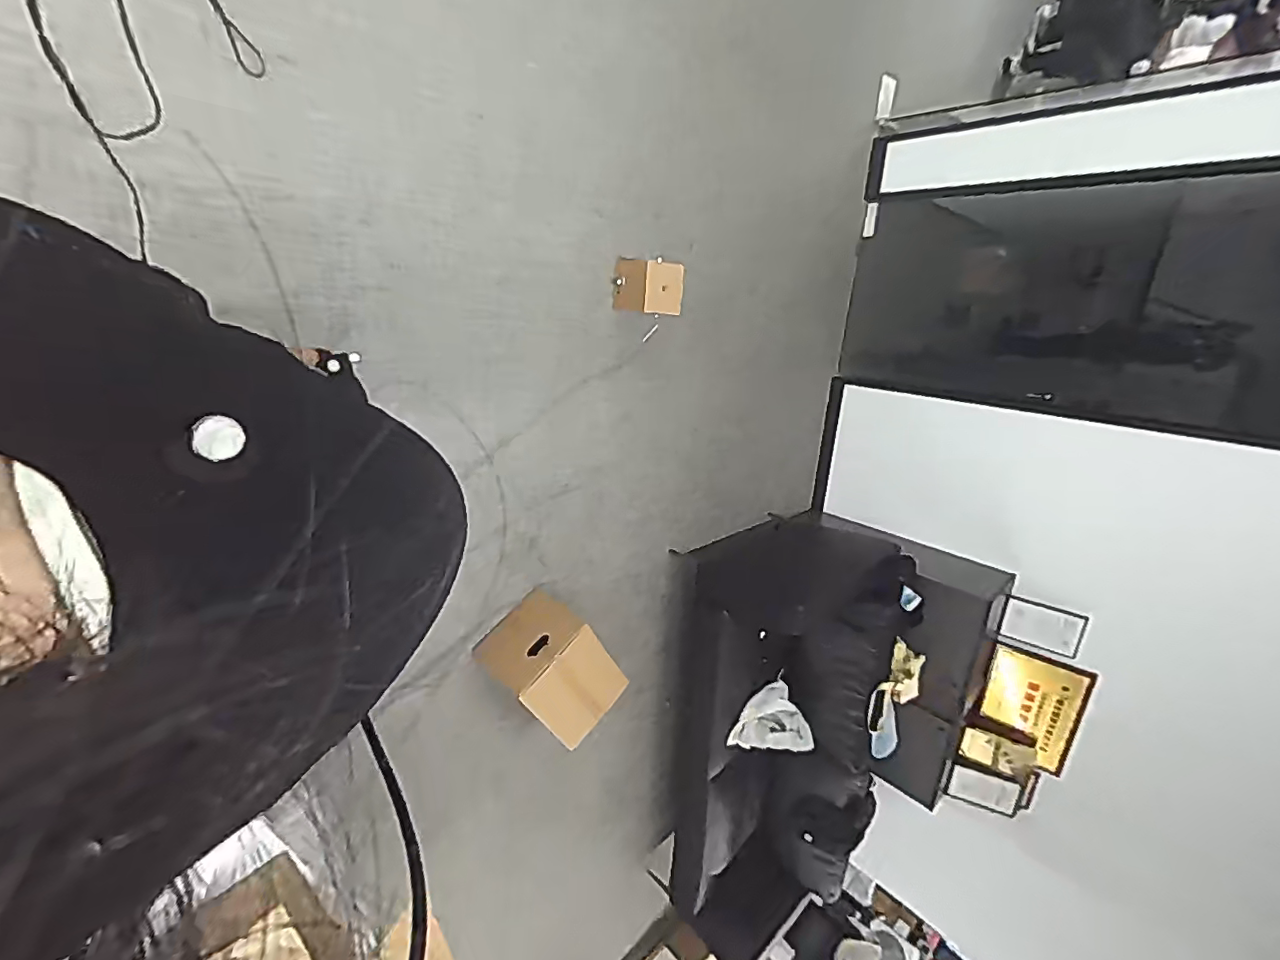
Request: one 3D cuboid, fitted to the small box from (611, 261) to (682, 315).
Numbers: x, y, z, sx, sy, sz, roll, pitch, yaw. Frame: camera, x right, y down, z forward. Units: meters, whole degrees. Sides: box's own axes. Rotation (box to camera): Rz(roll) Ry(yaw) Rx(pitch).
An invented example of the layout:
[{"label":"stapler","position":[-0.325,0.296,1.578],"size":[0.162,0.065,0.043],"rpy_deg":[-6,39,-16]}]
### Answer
[{"label":"small box","position":[0.021,-0.667,1.880],"size":[0.179,0.176,0.168],"rpy_deg":[-12,113,-41]}]
